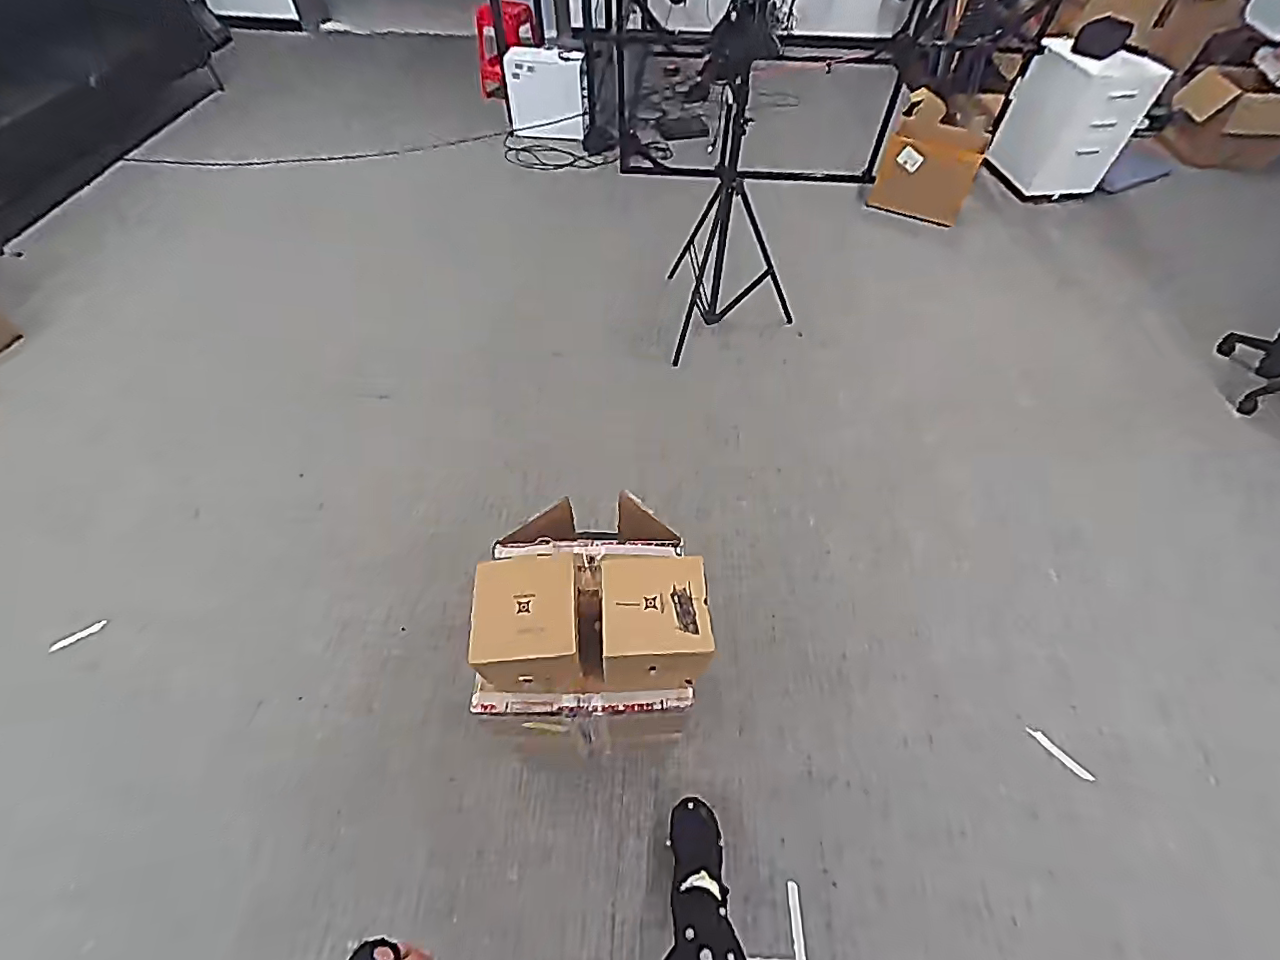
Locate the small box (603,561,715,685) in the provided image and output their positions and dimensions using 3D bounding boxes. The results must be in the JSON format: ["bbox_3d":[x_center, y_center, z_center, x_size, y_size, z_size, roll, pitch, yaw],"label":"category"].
[{"bbox_3d":[0.024,0.252,0.944,0.179,0.176,0.168,-2,55,-3],"label":"small box"}]

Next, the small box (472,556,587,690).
[{"bbox_3d":[-0.184,0.251,0.942,0.168,0.176,0.179,-6,58,-3],"label":"small box"}]
